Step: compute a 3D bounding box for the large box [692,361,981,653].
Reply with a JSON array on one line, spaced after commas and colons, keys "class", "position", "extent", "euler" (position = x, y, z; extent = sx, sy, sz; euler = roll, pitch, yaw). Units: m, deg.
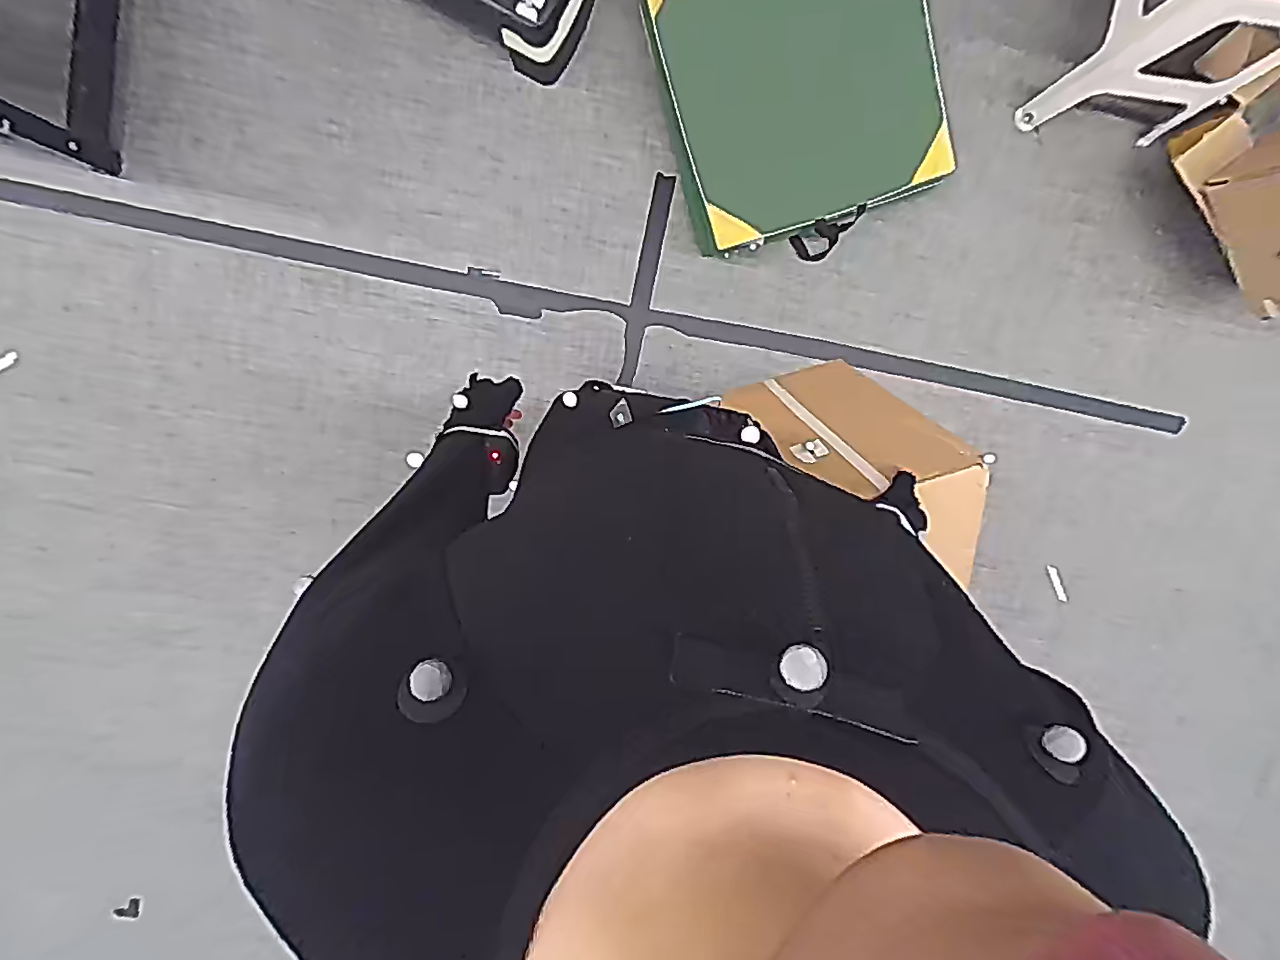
[{"class": "large box", "position": [0.317, 0.030, 0.994], "extent": [0.320, 0.408, 0.320], "euler": [-17, 127, -4]}]
